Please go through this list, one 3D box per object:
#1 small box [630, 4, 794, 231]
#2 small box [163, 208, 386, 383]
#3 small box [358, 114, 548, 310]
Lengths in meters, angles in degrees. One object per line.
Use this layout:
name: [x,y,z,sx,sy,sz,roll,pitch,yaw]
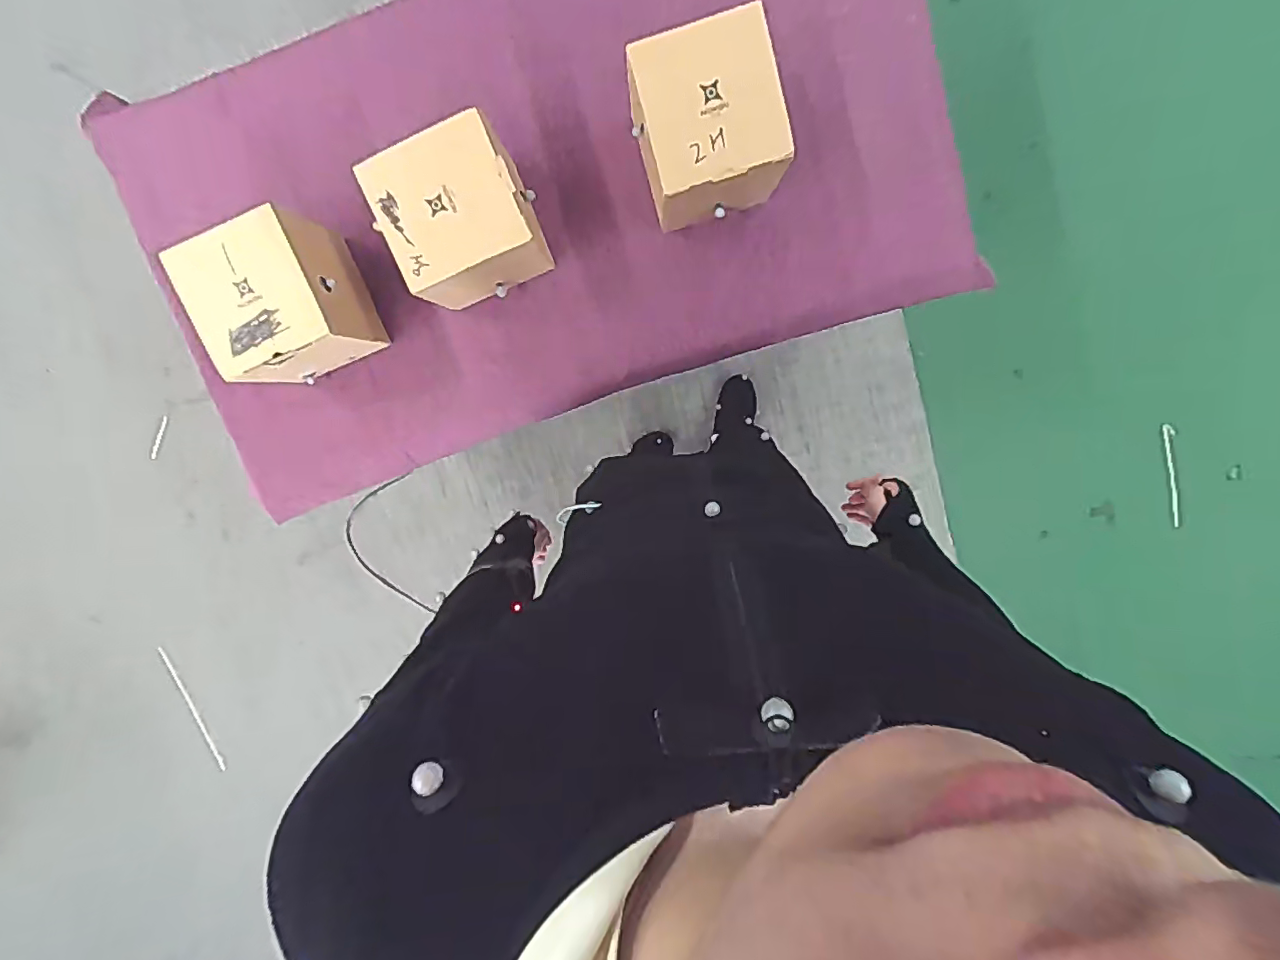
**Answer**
small box: [0.088,-0.464,0.724,0.168,0.176,0.179,-16,99,5]
small box: [-0.502,-0.249,0.773,0.168,0.176,0.179,-21,98,4]
small box: [-0.239,-0.354,0.751,0.179,0.176,0.168,-22,99,5]
